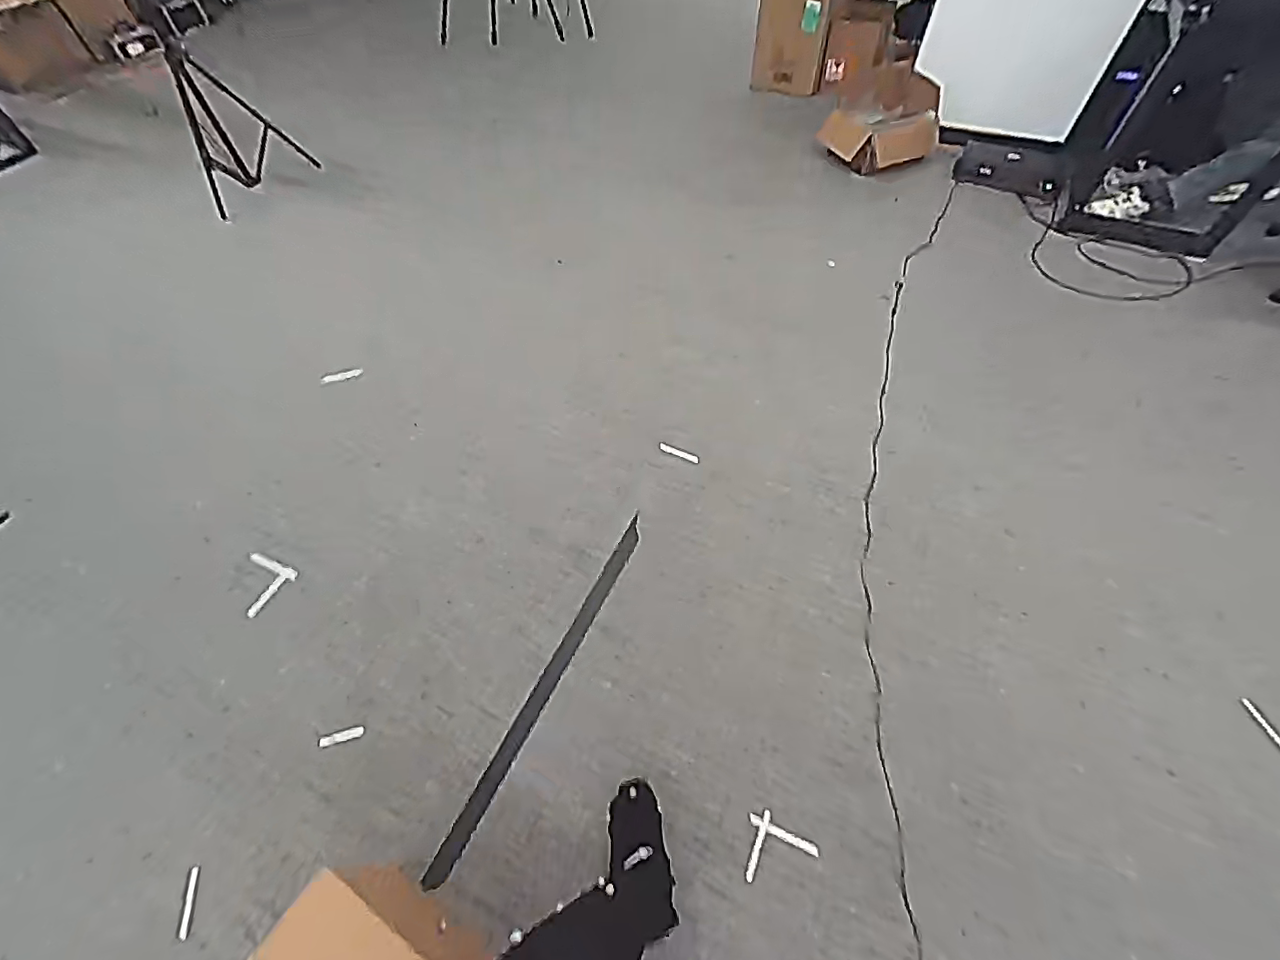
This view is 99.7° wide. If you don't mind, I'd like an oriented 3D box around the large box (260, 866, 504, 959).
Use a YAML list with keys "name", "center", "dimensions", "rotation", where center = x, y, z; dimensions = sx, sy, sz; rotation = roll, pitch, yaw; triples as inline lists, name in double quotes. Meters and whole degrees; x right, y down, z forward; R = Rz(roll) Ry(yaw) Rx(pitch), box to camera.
- name: "large box"
  center: [-0.451, 0.949, 0.940]
  dimensions: [0.408, 0.320, 0.320]
  rotation: [26, 60, 18]
